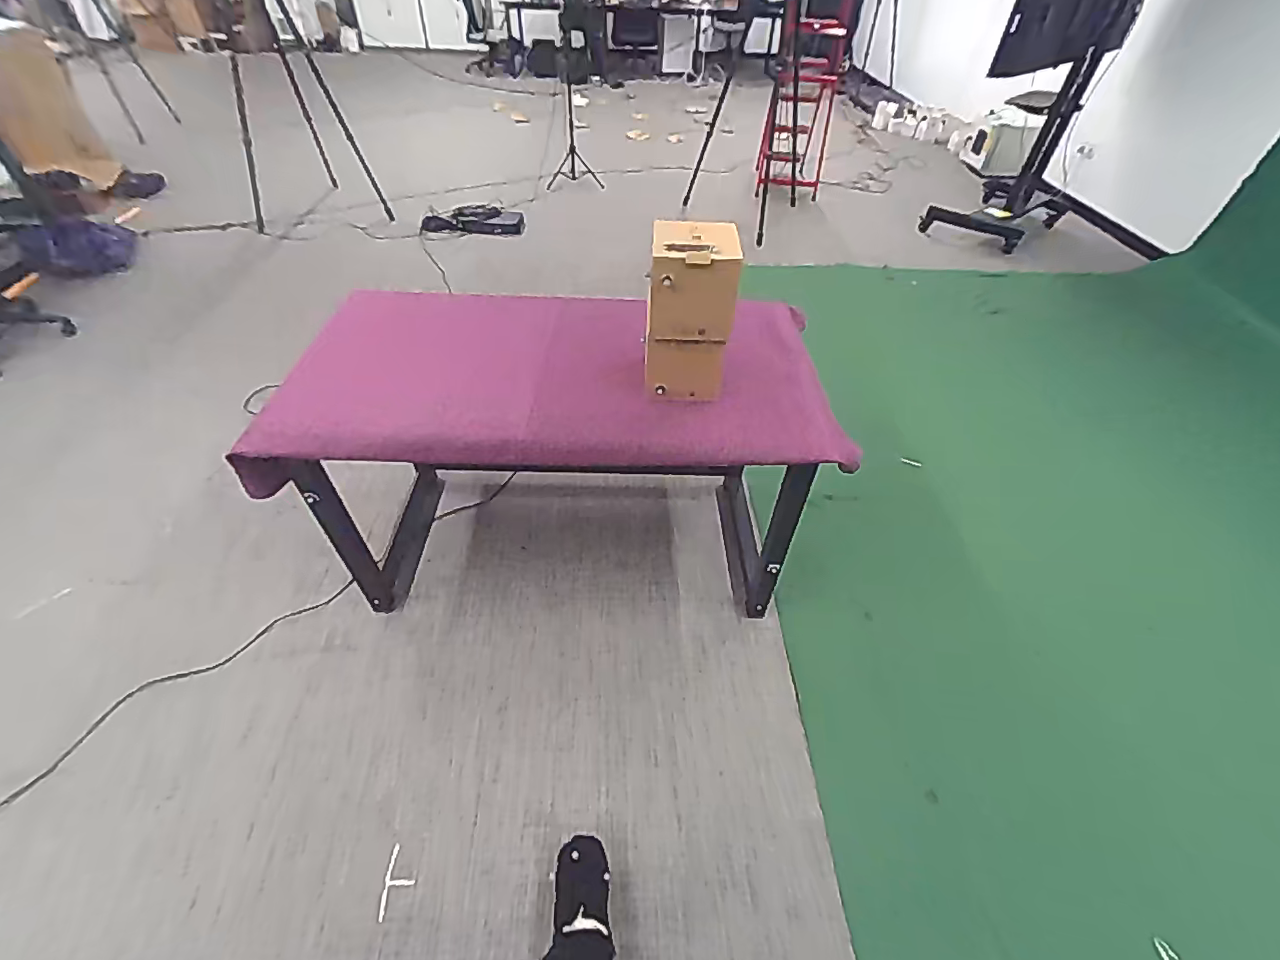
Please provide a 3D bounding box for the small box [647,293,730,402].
[{"bbox_3d":[0.105,-0.291,1.203,0.168,0.176,0.179,5,46,0],"label":"small box"}]
